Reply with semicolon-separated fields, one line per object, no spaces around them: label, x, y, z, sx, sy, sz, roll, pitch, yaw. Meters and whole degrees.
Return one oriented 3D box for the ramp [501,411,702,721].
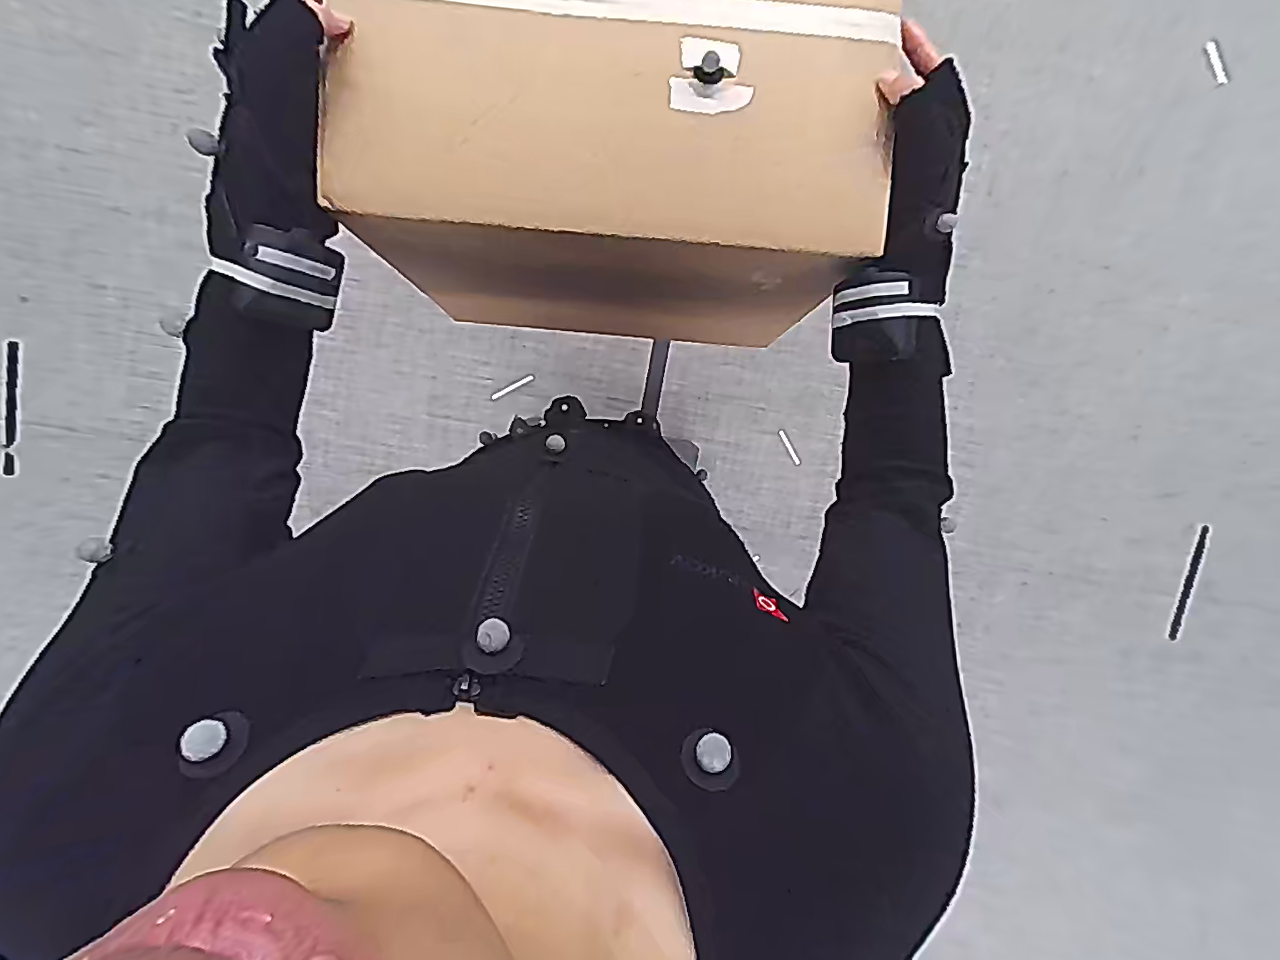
ramp;-0.141;0.310;1.635;0.509;0.206;0.991;7;99;-3

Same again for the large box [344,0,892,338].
large box;-0.018;-0.342;0.547;0.408;0.320;0.320;4;92;-3
